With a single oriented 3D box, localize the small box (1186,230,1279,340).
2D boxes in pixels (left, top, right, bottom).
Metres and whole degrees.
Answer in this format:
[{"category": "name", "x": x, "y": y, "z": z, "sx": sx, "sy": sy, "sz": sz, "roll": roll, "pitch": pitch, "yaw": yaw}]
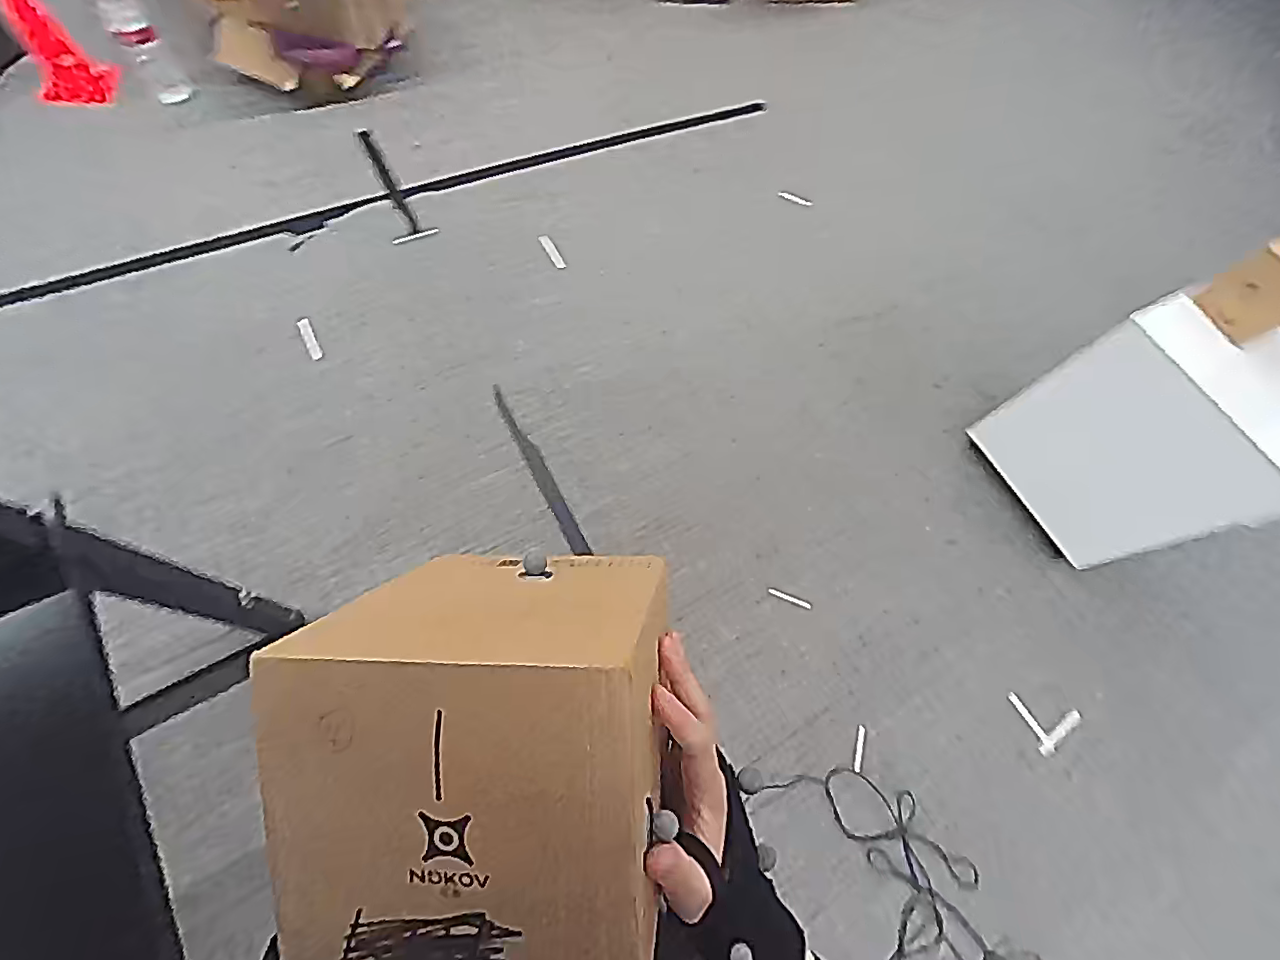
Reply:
[{"category": "small box", "x": 1.433, "y": -0.449, "z": 1.243, "sx": 0.179, "sy": 0.176, "sz": 0.168, "roll": -21, "pitch": 72, "yaw": -17}]
